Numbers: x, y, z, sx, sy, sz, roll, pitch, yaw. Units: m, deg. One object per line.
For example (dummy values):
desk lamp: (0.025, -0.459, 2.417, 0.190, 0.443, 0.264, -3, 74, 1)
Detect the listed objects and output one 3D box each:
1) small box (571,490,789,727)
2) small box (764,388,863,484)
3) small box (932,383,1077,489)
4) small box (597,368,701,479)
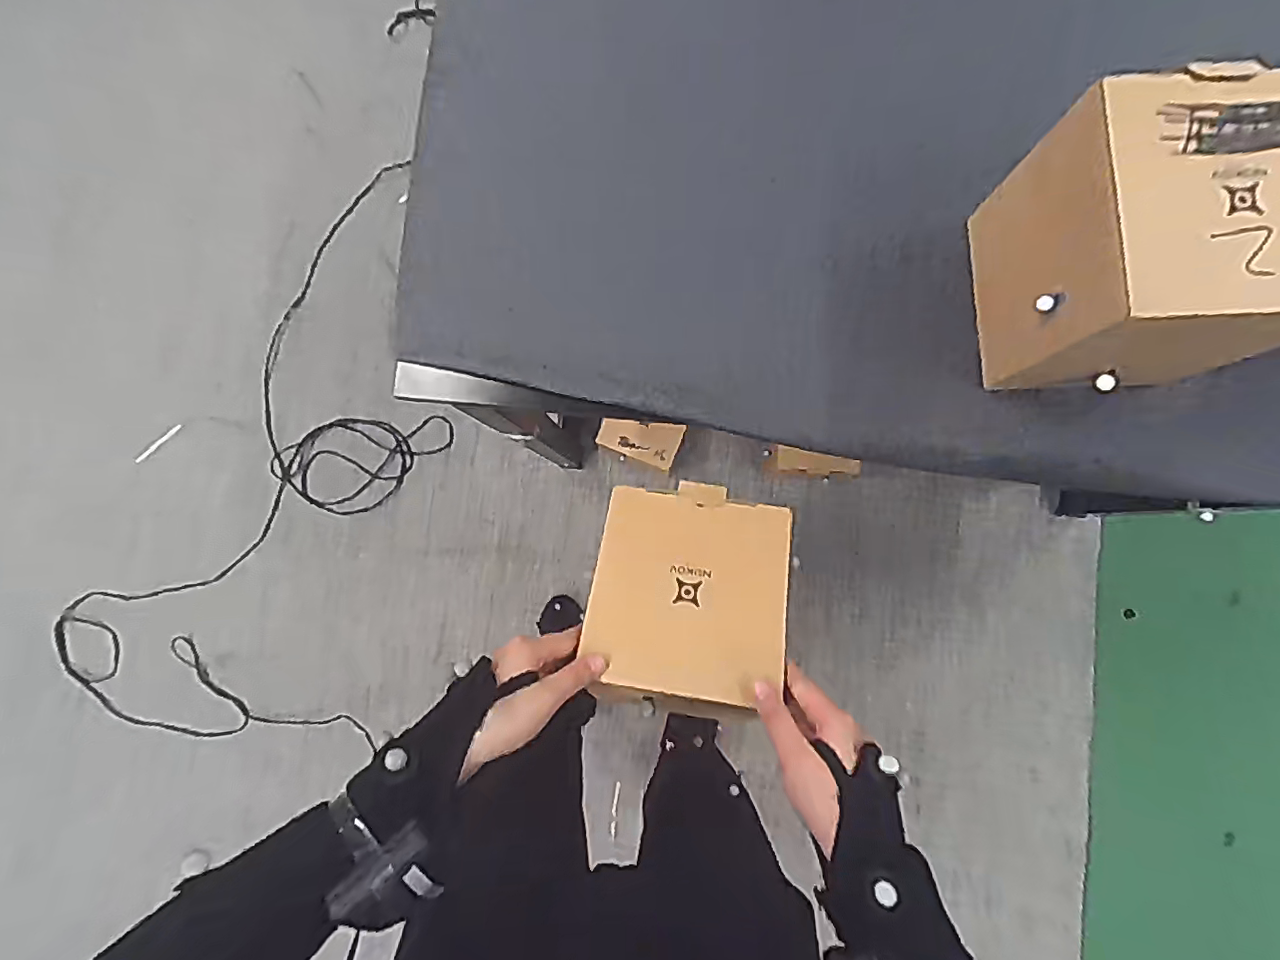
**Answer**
small box: (0.043, 0.132, 0.526, 0.168, 0.176, 0.179, 8, 62, 7)
small box: (0.364, -0.088, 1.160, 0.168, 0.176, 0.179, 3, 84, 3)
small box: (0.751, -0.083, 1.136, 0.179, 0.176, 0.168, 19, 86, 3)
small box: (0.022, -0.116, 1.184, 0.168, 0.176, 0.179, 23, 86, 6)
